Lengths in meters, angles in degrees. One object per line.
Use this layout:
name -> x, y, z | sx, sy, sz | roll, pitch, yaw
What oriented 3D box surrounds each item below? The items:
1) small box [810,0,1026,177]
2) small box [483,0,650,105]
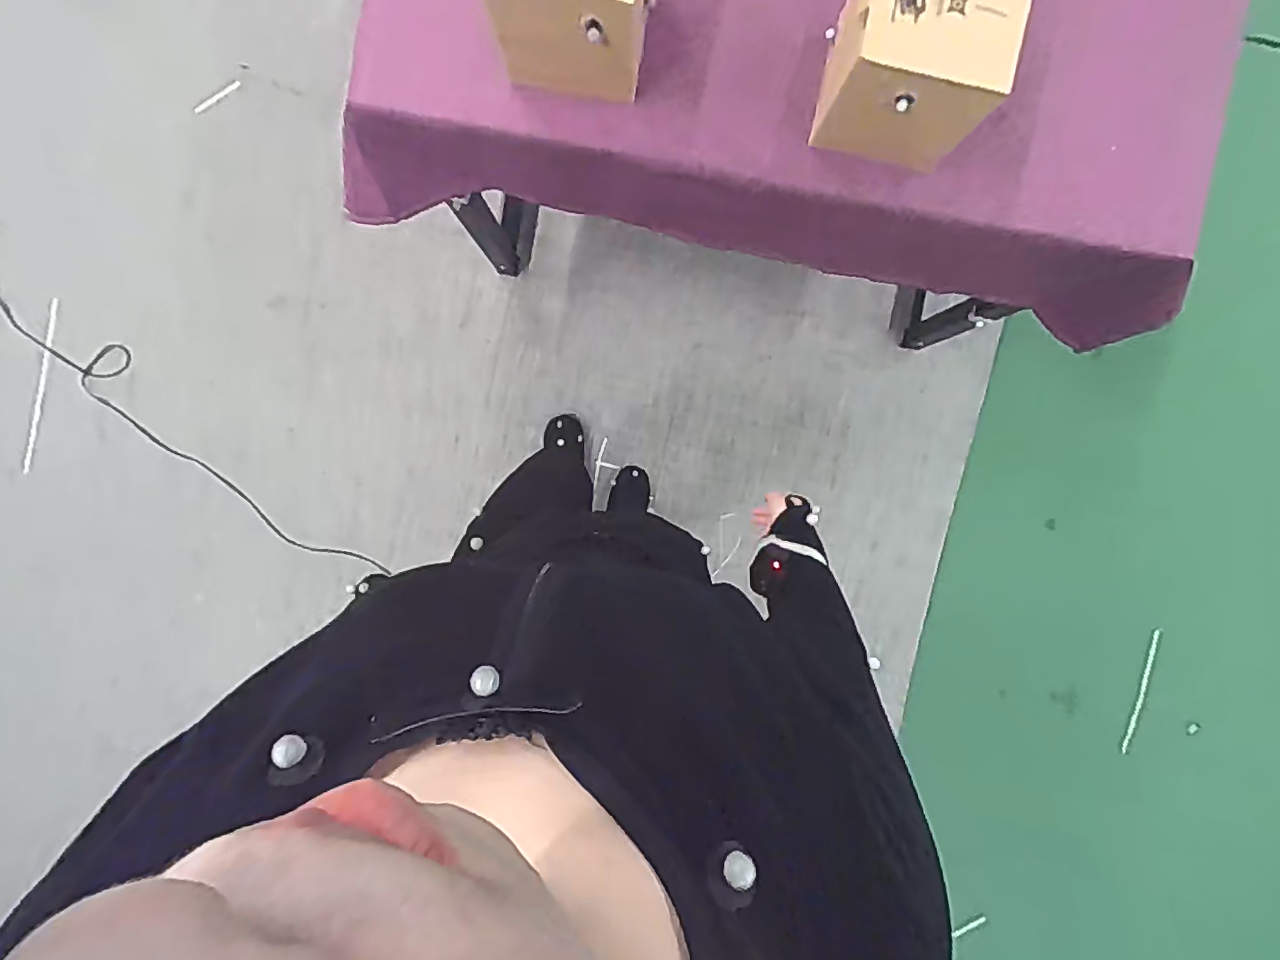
small box -> 0.334, -0.515, 0.677 | 0.179, 0.176, 0.168 | 13, 92, -2
small box -> -0.080, -0.605, 0.666 | 0.179, 0.176, 0.168 | 10, 91, -2
